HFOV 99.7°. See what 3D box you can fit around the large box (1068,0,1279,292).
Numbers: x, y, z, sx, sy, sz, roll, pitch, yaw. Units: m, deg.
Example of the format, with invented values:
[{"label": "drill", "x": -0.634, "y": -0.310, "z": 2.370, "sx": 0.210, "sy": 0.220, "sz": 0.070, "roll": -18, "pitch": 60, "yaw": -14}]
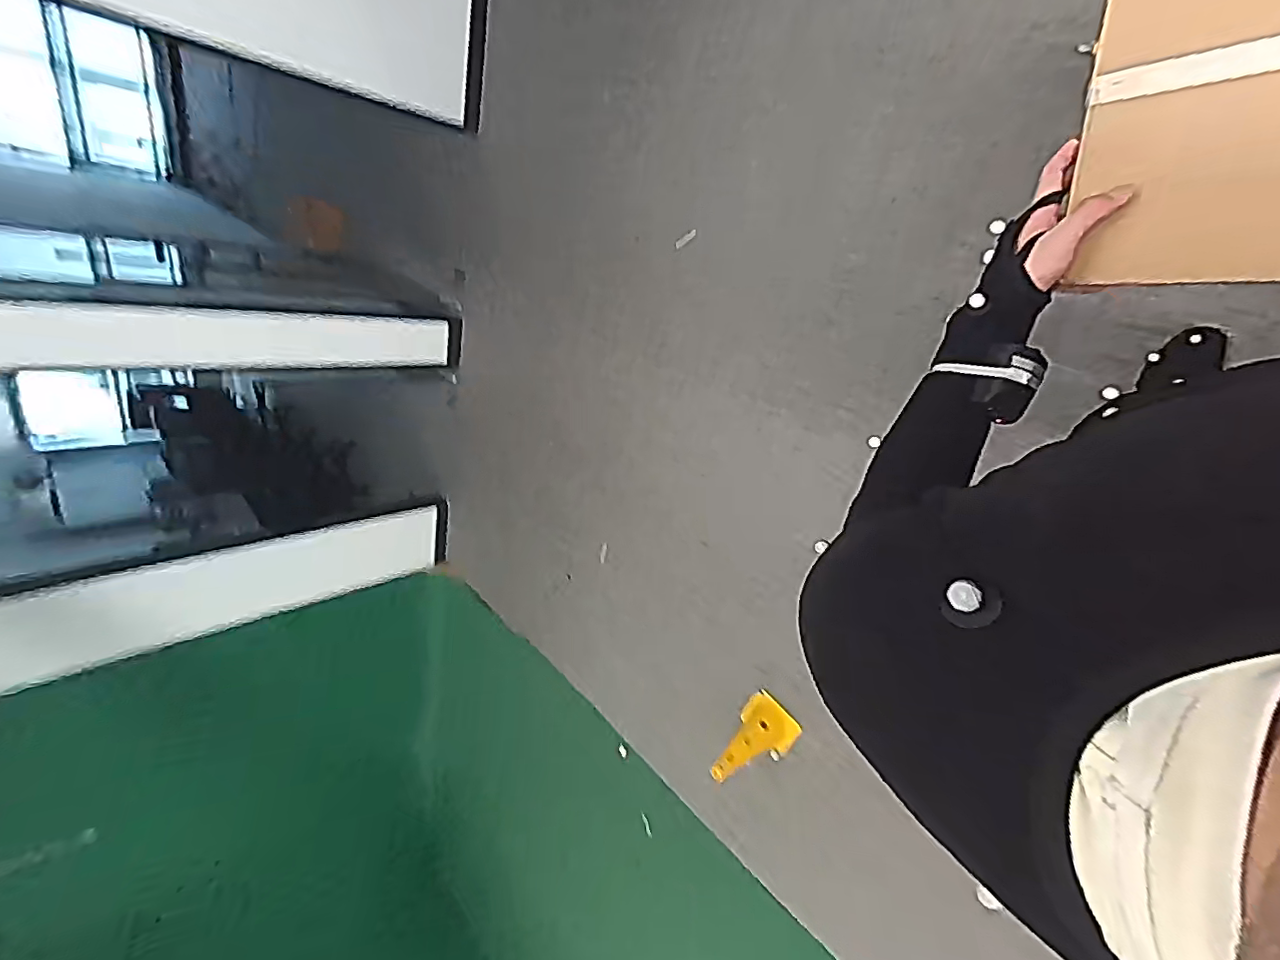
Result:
[{"label": "large box", "x": 0.638, "y": -0.335, "z": 0.432, "sx": 0.408, "sy": 0.320, "sz": 0.320, "roll": 15, "pitch": 119, "yaw": 43}]
